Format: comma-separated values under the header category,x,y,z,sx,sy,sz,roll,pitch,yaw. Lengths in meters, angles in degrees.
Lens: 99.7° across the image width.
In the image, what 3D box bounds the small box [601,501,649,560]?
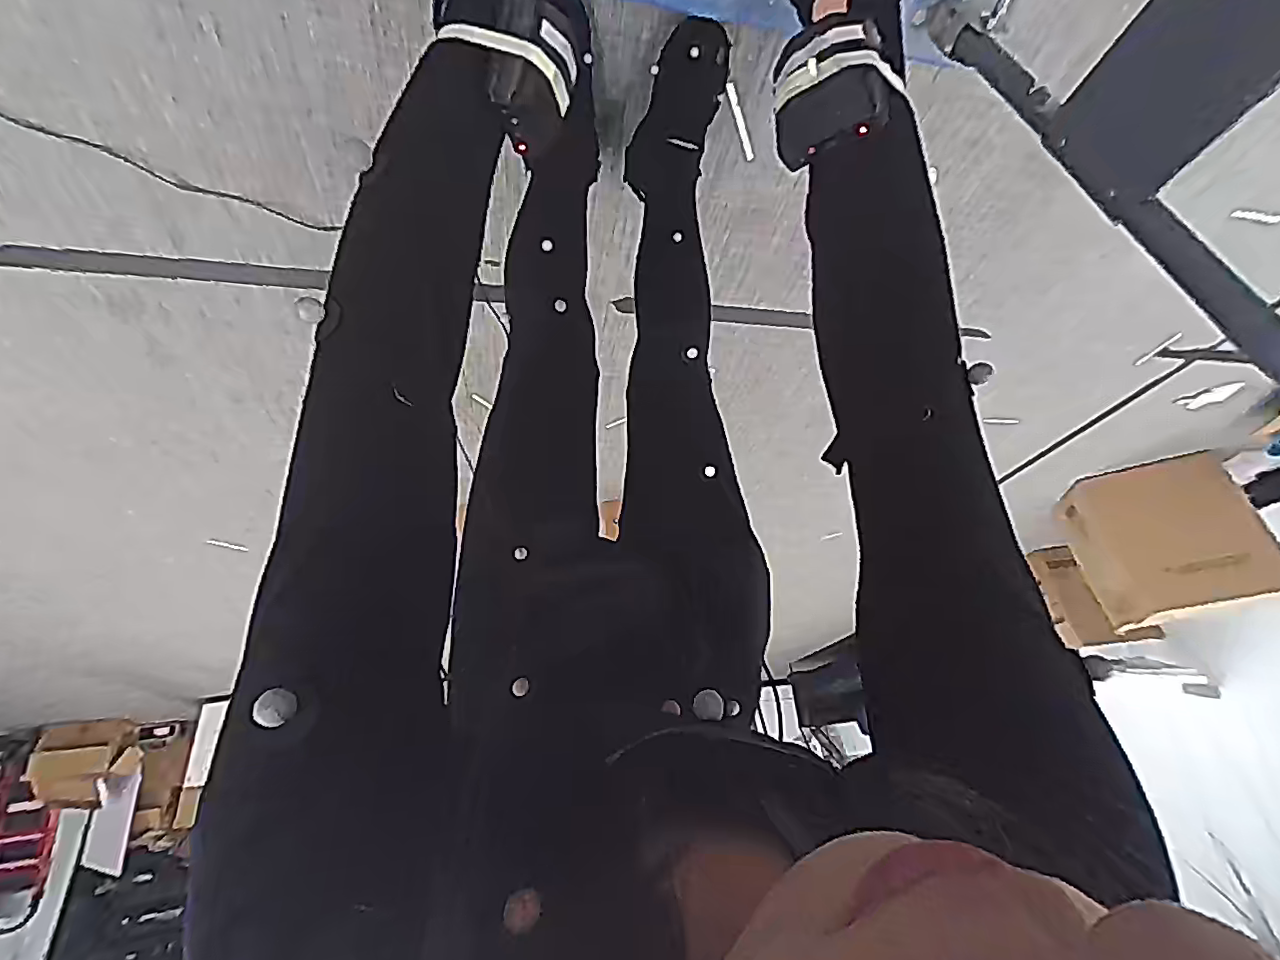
category,x,y,z,sx,sy,sz,roll,pitch,yaw
small box,-0.061,0.198,2.124,0.179,0.176,0.168,-8,152,-3

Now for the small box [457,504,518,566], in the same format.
category,x,y,z,sx,sy,sz,roll,pitch,yaw
small box,-0.561,0.200,1.993,0.179,0.176,0.168,-9,151,2
